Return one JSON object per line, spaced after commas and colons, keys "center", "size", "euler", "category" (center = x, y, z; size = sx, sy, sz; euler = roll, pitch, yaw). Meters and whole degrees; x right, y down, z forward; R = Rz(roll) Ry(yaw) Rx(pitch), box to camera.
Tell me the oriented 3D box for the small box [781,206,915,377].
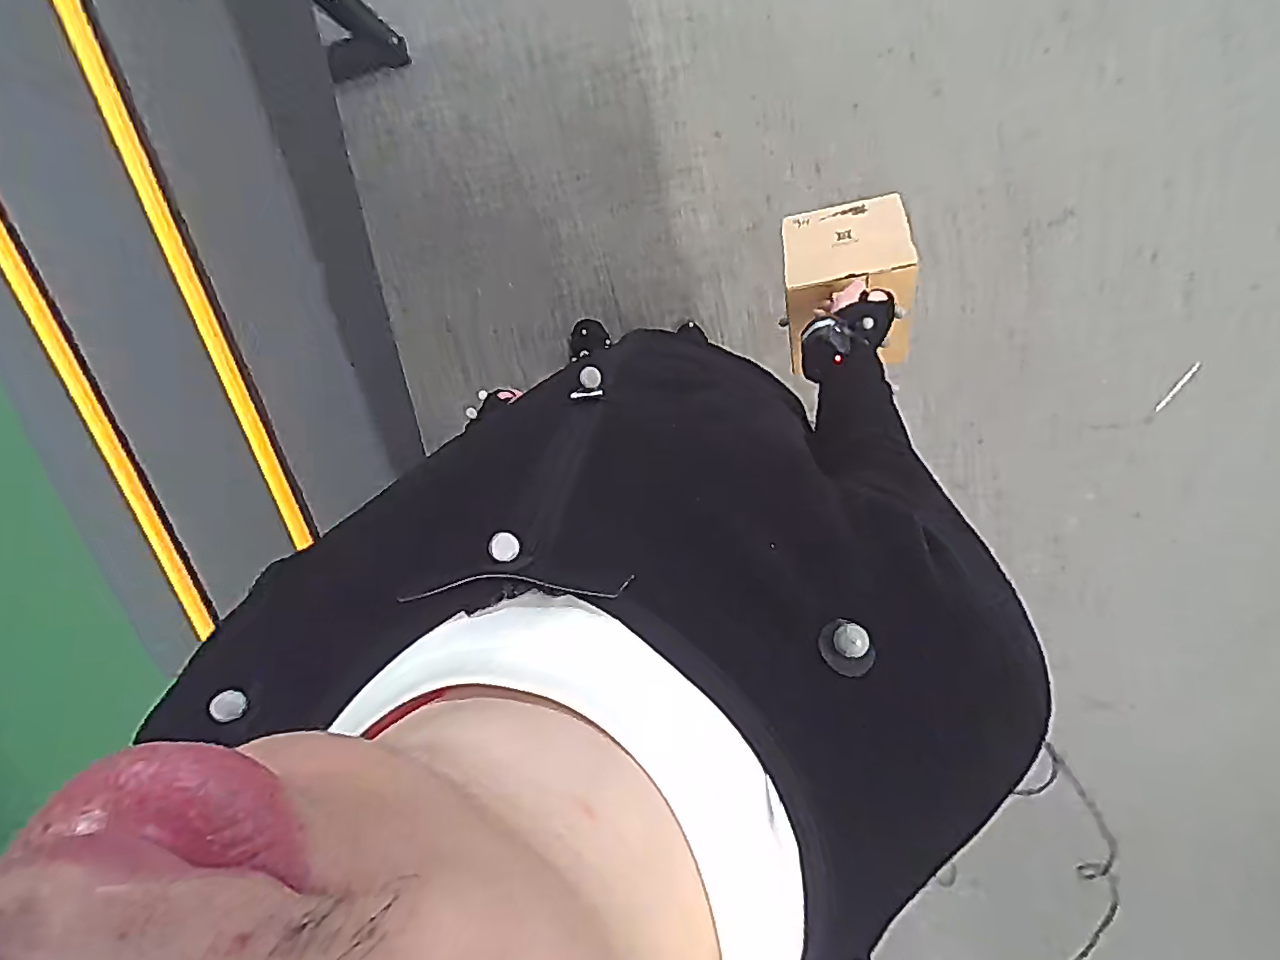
{"center": [0.313, -0.275, 0.825], "size": [0.168, 0.179, 0.176], "euler": [-7, 142, 19], "category": "small box"}
